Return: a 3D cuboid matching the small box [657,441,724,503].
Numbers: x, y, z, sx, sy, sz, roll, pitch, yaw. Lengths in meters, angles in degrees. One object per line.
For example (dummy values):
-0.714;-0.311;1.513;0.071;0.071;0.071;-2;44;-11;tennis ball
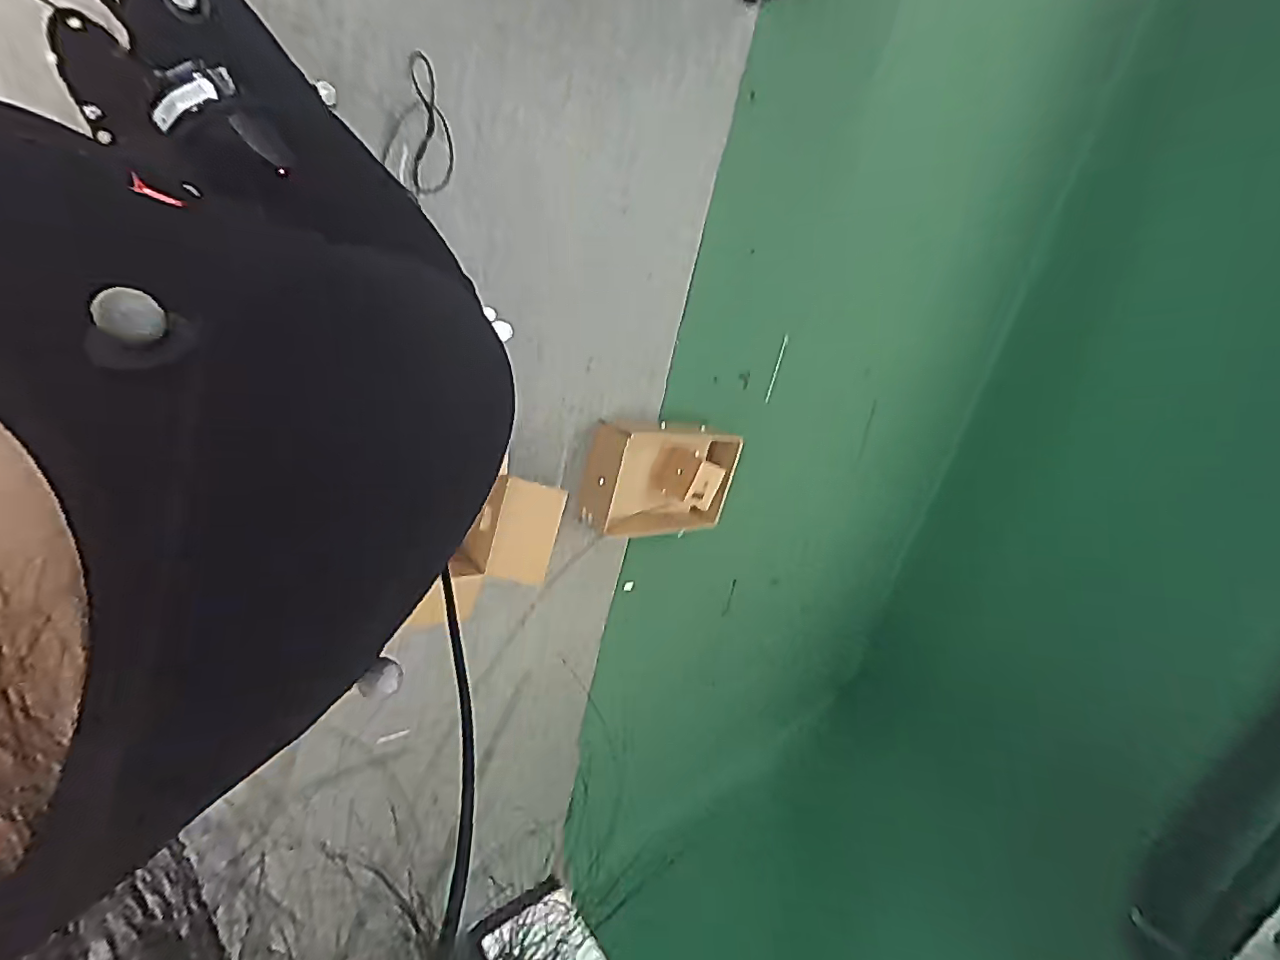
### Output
0.194;-0.031;2.152;0.168;0.176;0.179;18;101;-46;small box
